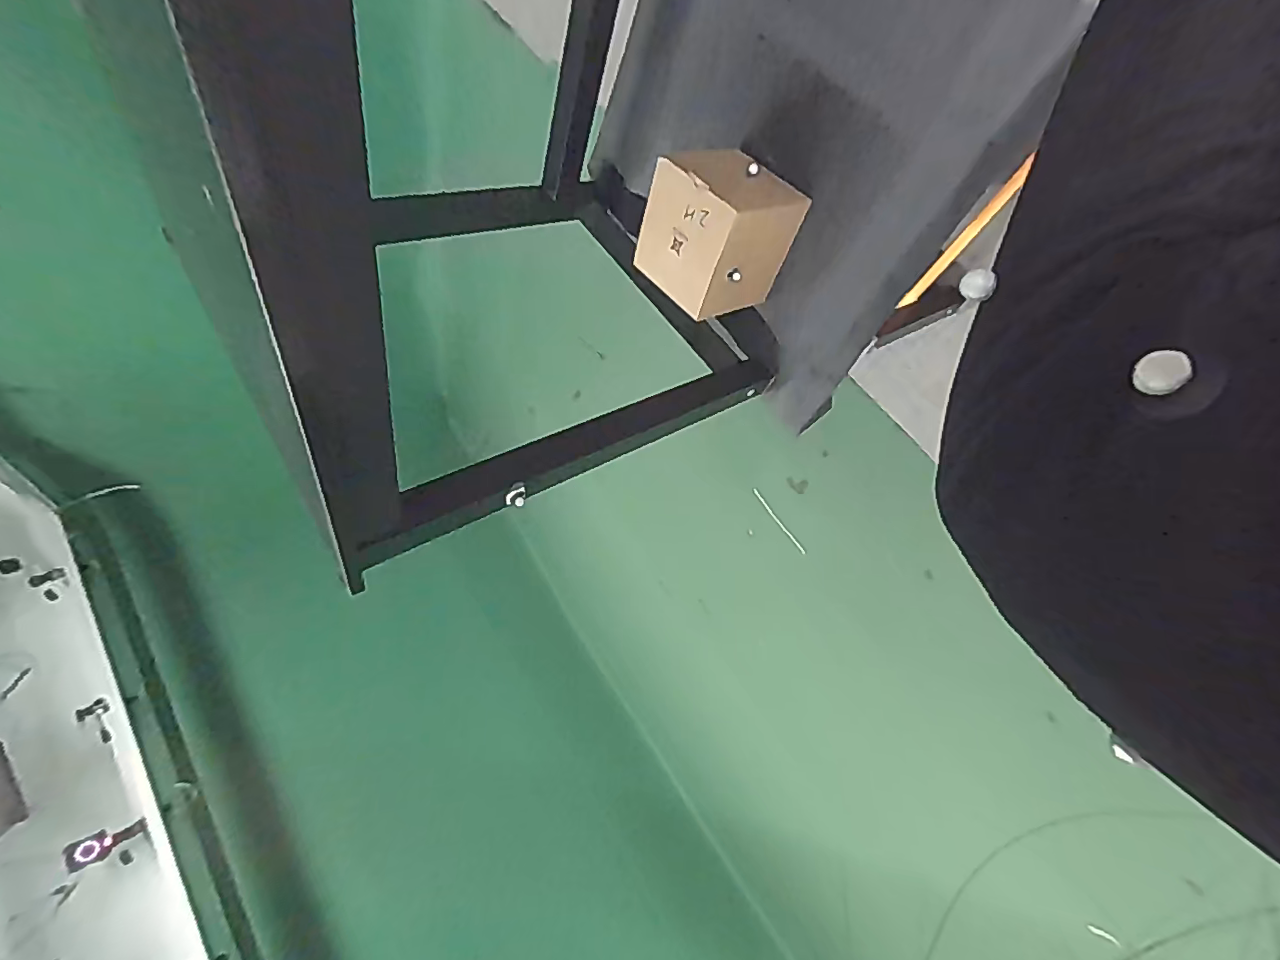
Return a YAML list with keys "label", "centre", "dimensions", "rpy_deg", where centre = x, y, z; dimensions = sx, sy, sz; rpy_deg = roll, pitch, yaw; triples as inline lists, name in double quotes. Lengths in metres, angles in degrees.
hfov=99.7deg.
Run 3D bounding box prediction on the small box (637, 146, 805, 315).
- label: "small box"
  centre: [0.124, -0.392, 0.846]
  dimensions: [0.168, 0.176, 0.179]
  rpy_deg: [49, 144, 22]
